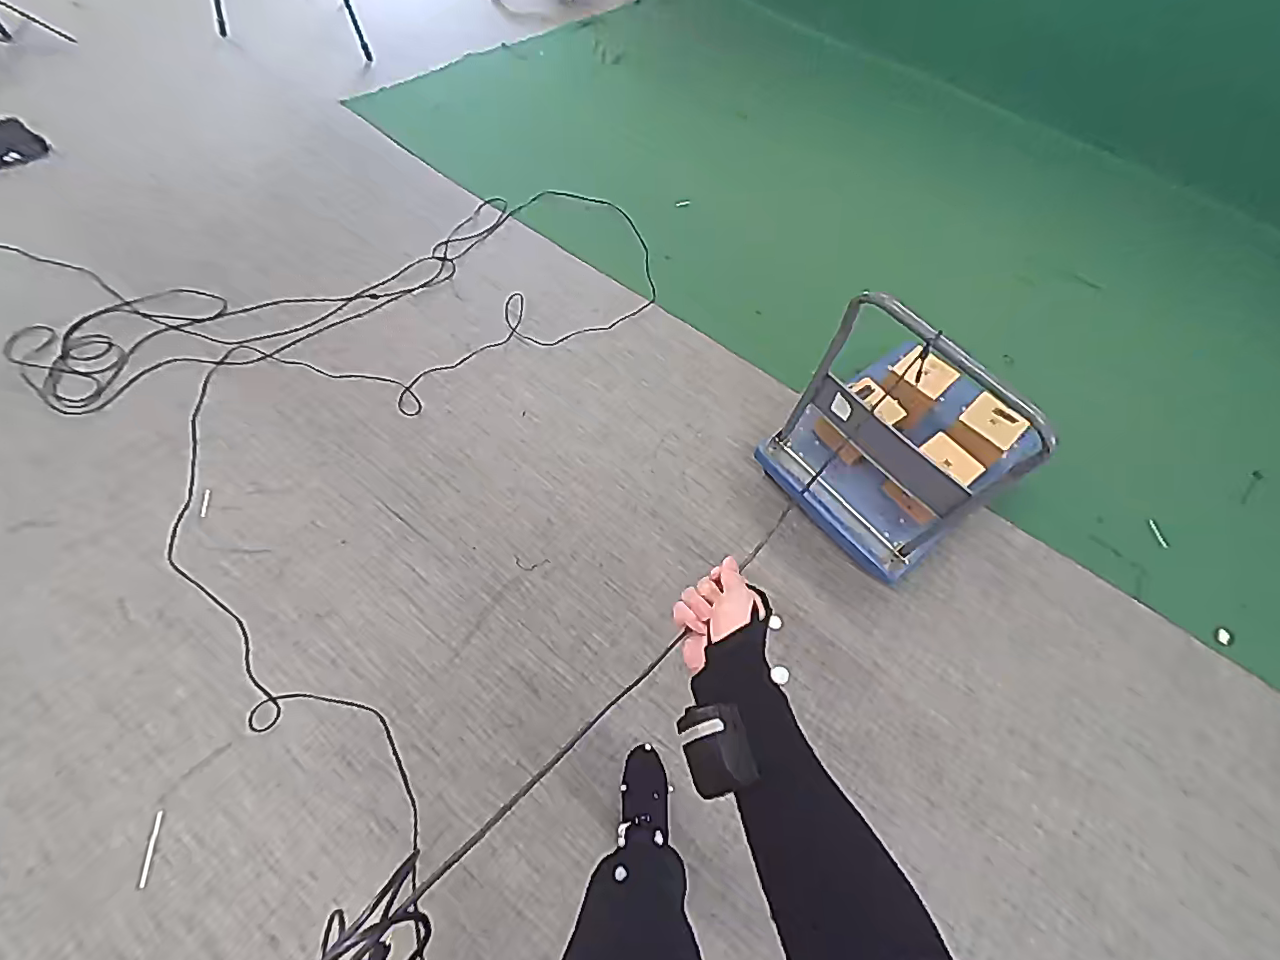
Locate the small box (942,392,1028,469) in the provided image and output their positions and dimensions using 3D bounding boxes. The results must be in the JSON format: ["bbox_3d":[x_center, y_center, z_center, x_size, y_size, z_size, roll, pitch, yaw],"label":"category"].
[{"bbox_3d":[1.086,-0.144,1.739,0.179,0.176,0.168,-37,69,-24],"label":"small box"}]

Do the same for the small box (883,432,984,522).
[{"bbox_3d":[0.877,-0.006,1.635,0.179,0.176,0.168,-32,68,-22],"label":"small box"}]

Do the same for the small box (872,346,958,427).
[{"bbox_3d":[0.914,-0.310,1.819,0.179,0.176,0.168,-37,70,-24],"label":"small box"}]
